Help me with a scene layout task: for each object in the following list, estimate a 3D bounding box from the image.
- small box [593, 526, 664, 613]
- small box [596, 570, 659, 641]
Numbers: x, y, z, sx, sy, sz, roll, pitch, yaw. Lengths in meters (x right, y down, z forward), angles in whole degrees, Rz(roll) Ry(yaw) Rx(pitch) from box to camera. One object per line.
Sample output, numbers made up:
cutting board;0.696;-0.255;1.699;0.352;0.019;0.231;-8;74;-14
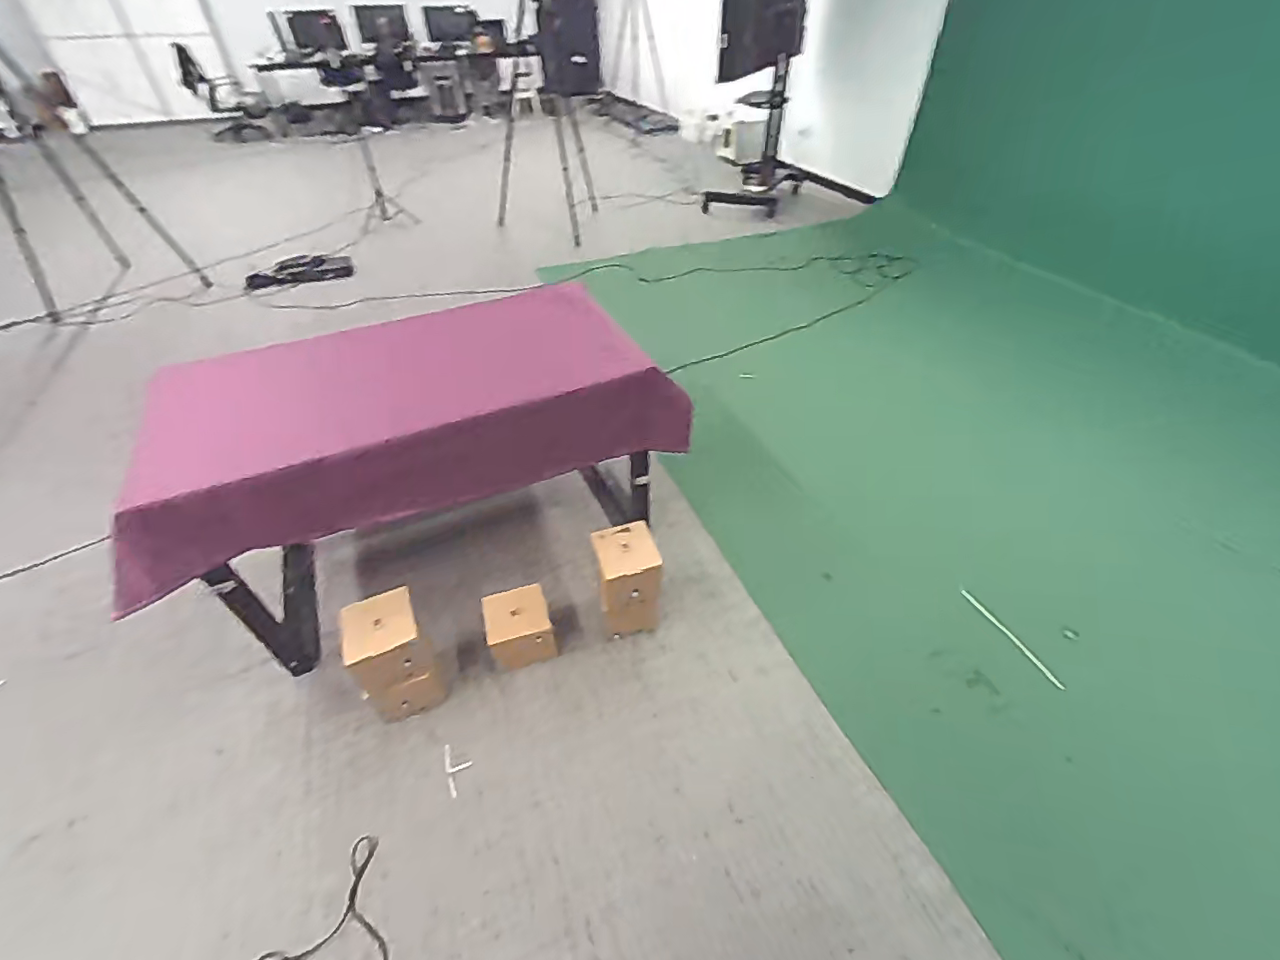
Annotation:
small box;-0.033;0.265;1.568;0.168;0.176;0.179;-13;45;-12
small box;-0.037;0.382;1.683;0.168;0.176;0.179;-10;43;-9
